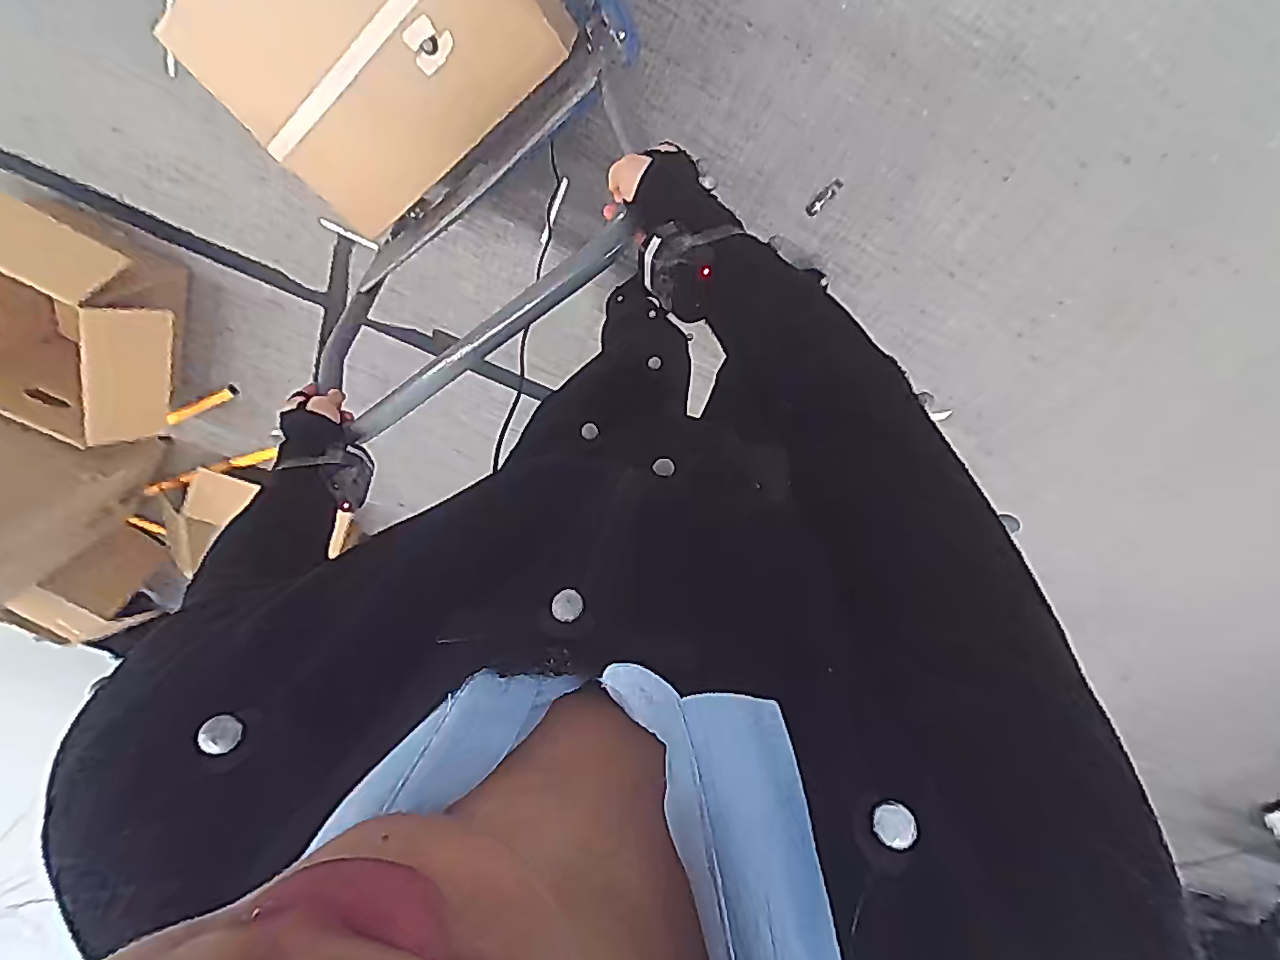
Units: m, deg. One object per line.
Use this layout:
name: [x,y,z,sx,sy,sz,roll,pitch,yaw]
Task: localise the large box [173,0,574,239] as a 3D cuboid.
large box: [-0.346,-0.651,0.790,0.408,0.320,0.320,-30,130,22]
